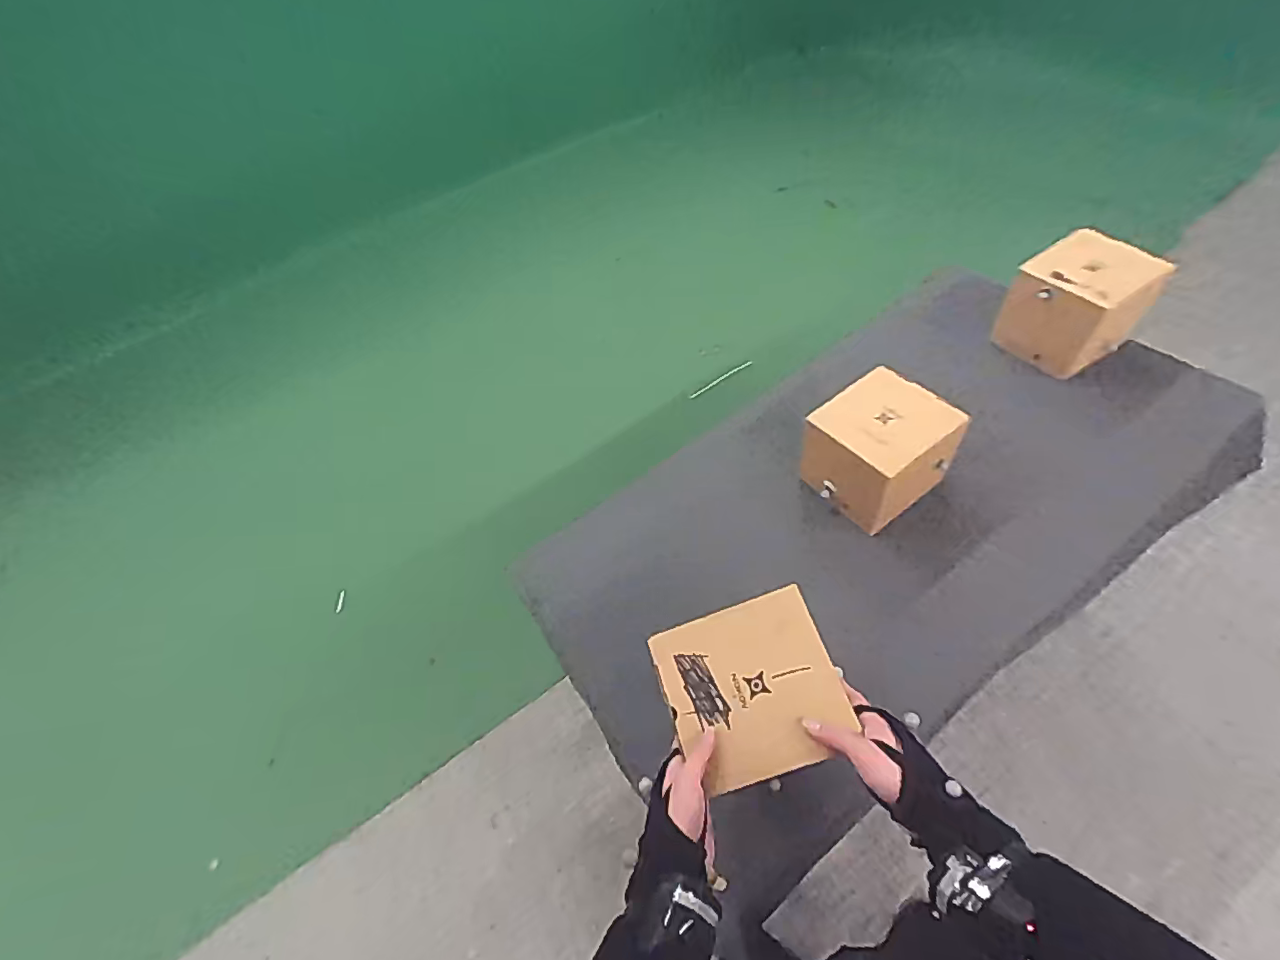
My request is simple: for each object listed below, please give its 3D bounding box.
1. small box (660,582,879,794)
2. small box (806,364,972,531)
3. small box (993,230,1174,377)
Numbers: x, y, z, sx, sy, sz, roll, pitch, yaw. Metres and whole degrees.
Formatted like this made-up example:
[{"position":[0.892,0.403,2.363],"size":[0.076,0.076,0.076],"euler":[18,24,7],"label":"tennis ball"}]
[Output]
[{"position":[0.141,0.238,0.613],"size":[0.179,0.176,0.168],"euler":[-20,62,5],"label":"small box"},{"position":[0.394,-0.051,0.892],"size":[0.179,0.176,0.168],"euler":[-35,55,-14],"label":"small box"},{"position":[0.815,-0.328,1.016],"size":[0.179,0.176,0.168],"euler":[-30,56,-12],"label":"small box"}]
